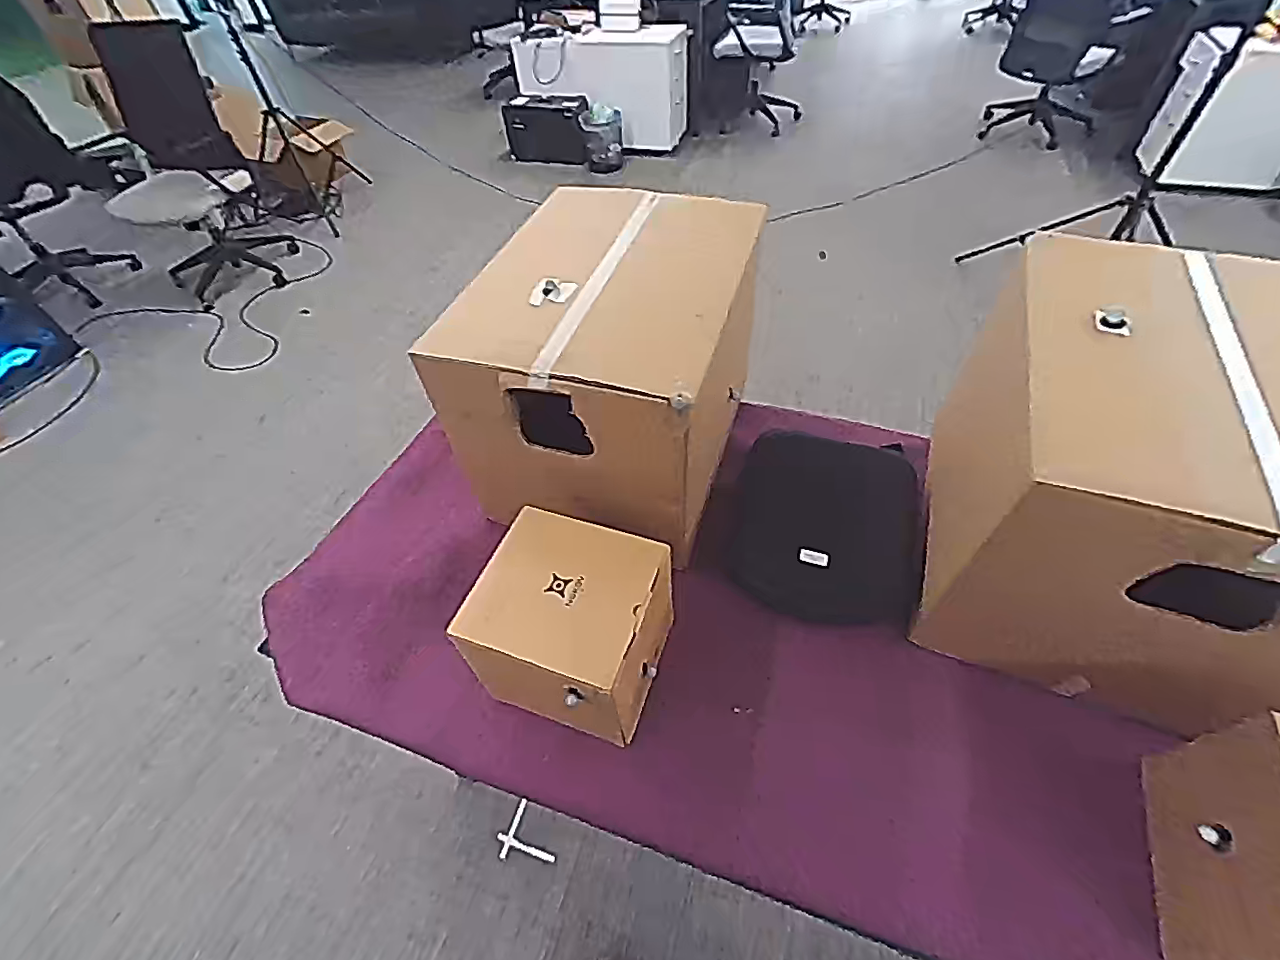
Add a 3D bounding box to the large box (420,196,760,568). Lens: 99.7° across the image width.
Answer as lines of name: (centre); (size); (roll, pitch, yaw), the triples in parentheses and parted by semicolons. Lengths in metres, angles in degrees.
large box: (-0.029, -0.147, 0.772); (0.320, 0.320, 0.408); (11, 54, 14)
